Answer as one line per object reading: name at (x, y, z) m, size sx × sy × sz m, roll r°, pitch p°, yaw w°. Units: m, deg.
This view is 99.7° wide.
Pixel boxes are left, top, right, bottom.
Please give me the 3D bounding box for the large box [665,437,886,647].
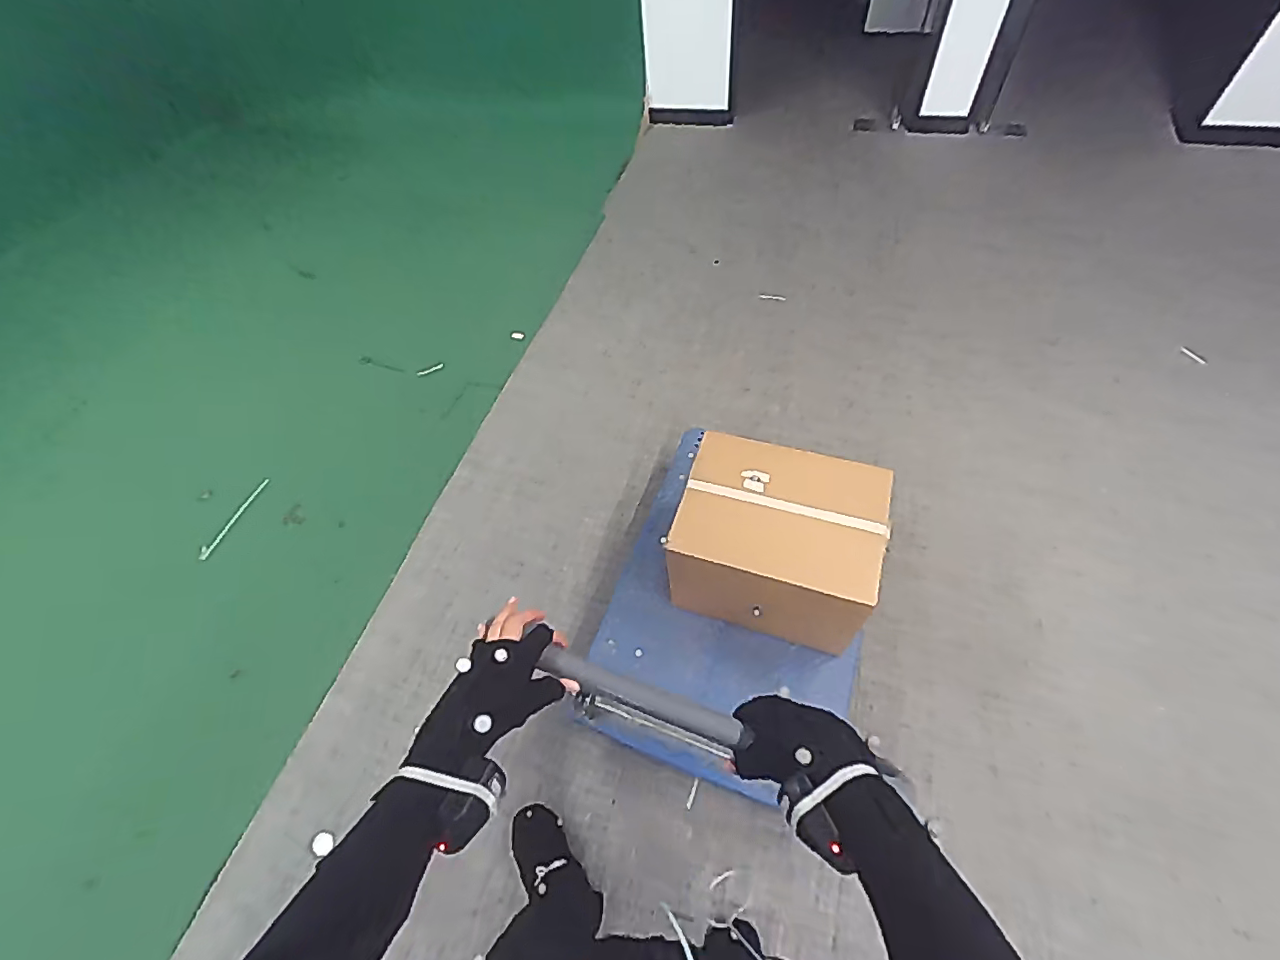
large box at (0.303, 0.144, 1.233) m, size 0.408 × 0.320 × 0.320 m, roll 13°, pitch 59°, yaw 16°
